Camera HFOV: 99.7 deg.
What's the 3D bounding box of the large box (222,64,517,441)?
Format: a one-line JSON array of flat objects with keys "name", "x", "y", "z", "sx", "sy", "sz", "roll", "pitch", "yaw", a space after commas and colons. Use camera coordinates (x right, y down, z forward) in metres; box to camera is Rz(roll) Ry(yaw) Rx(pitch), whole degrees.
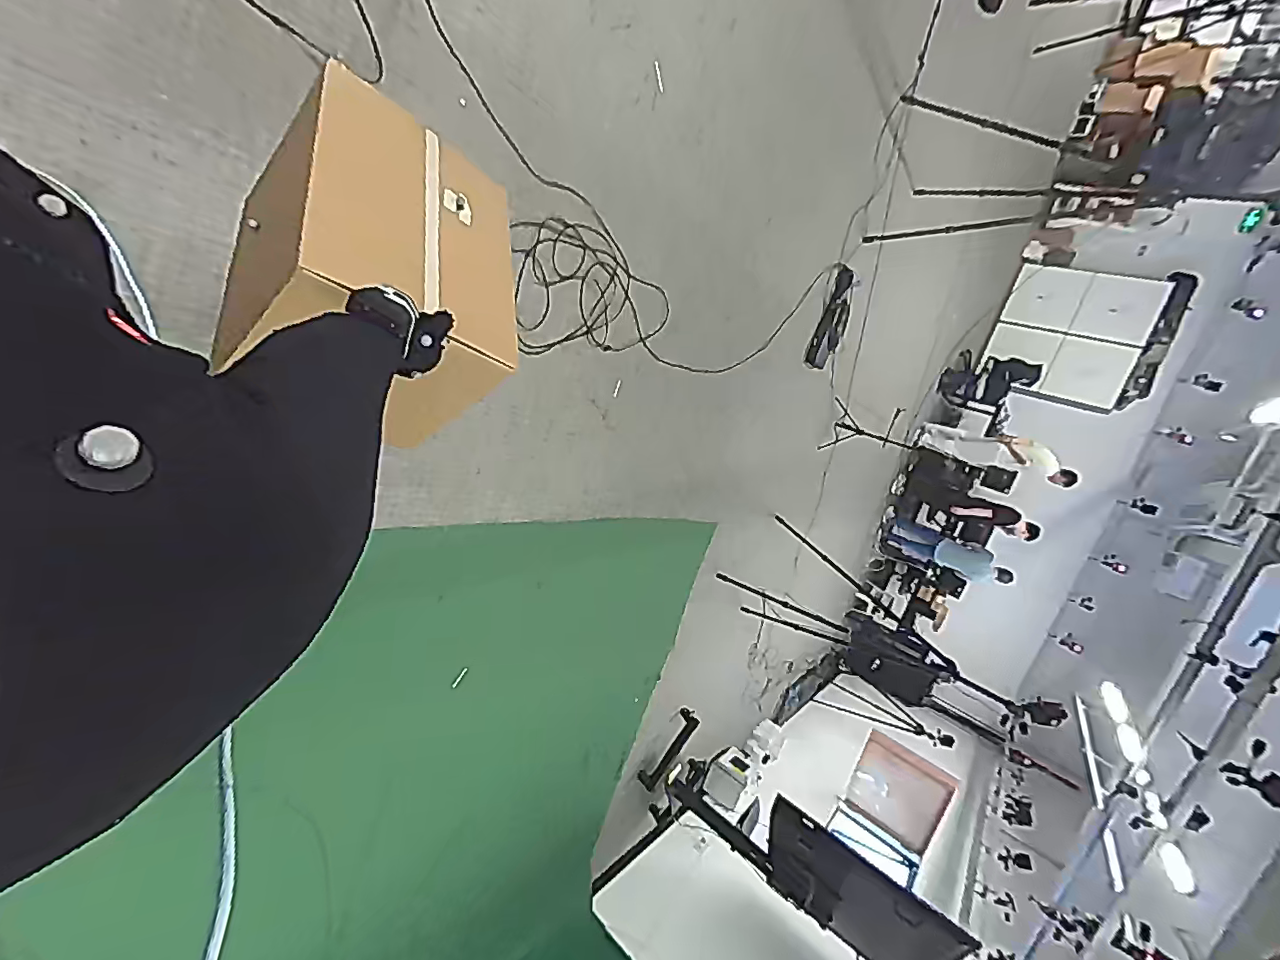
[{"name": "large box", "x": -0.431, "y": -0.329, "z": 0.887, "sx": 0.320, "sy": 0.320, "sz": 0.408, "roll": 20, "pitch": 53, "yaw": -49}]
